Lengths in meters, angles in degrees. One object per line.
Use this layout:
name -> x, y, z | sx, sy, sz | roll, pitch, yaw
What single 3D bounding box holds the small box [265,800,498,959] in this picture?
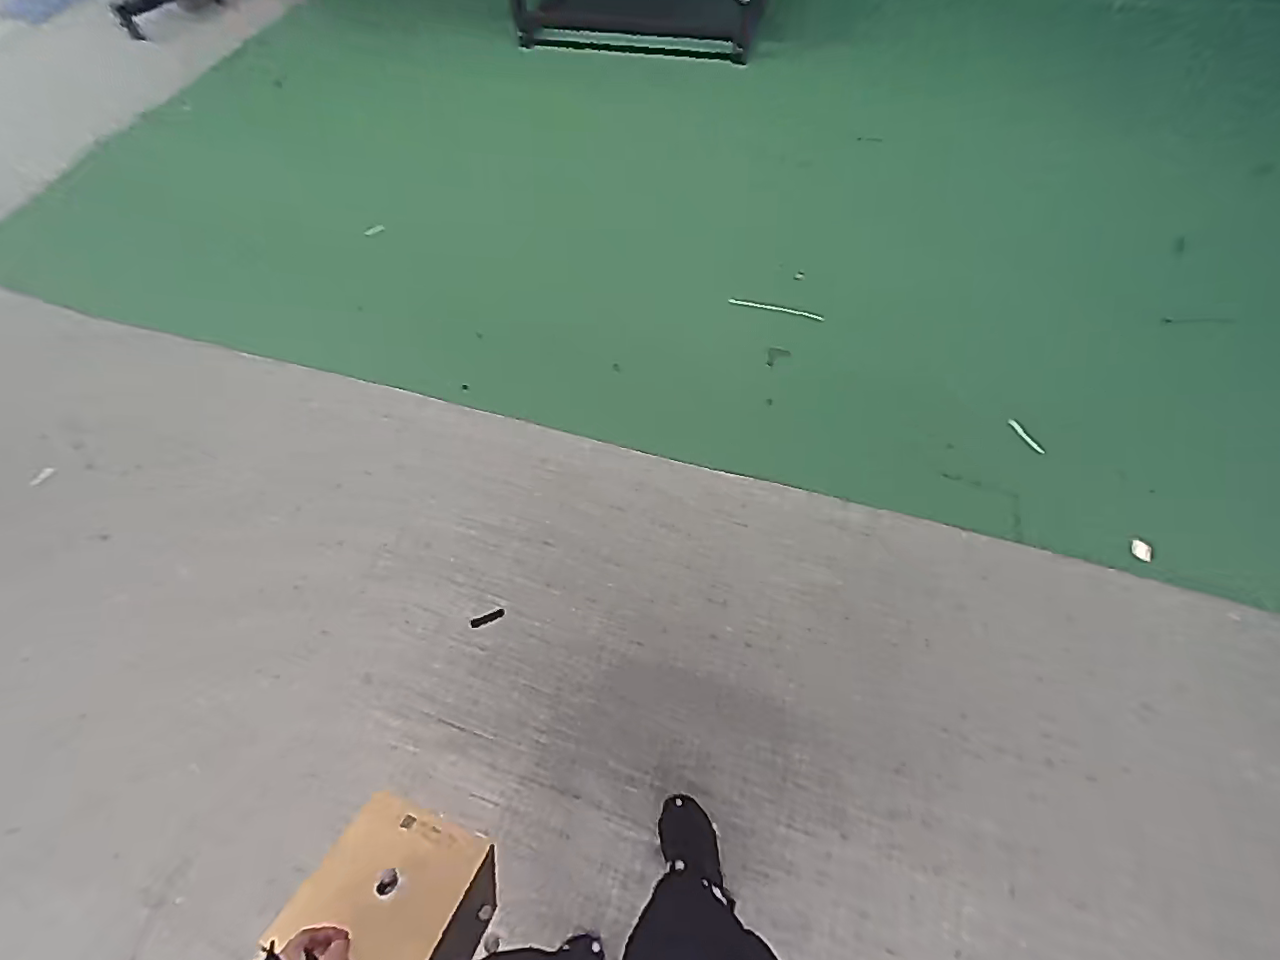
small box -> -0.278, 0.515, 0.626 | 0.168, 0.179, 0.176 | 15, 32, 13
